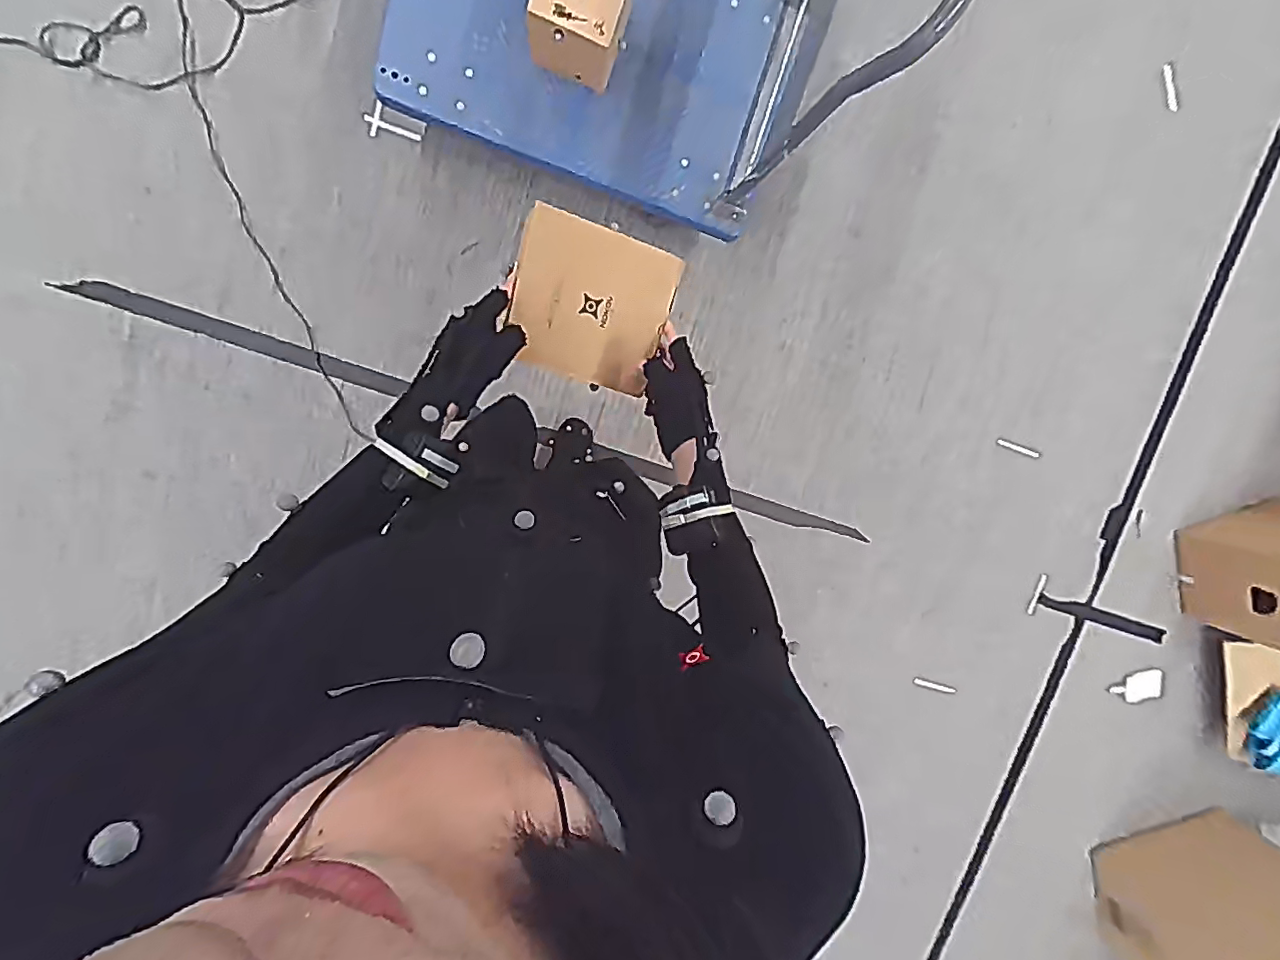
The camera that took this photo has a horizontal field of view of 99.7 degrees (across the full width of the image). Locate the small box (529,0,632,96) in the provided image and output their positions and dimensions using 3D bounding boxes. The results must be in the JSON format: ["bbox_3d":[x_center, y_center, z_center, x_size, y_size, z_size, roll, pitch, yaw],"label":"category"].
[{"bbox_3d":[-0.117,-0.942,1.100,0.168,0.176,0.179,19,95,-10],"label":"small box"}]

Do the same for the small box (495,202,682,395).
[{"bbox_3d":[-0.075,-0.219,0.675,0.179,0.176,0.168,13,103,-19],"label":"small box"}]

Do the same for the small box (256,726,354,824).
[{"bbox_3d":[-0.893,0.788,1.462,0.179,0.176,0.168,-1,99,-7],"label":"small box"}]
